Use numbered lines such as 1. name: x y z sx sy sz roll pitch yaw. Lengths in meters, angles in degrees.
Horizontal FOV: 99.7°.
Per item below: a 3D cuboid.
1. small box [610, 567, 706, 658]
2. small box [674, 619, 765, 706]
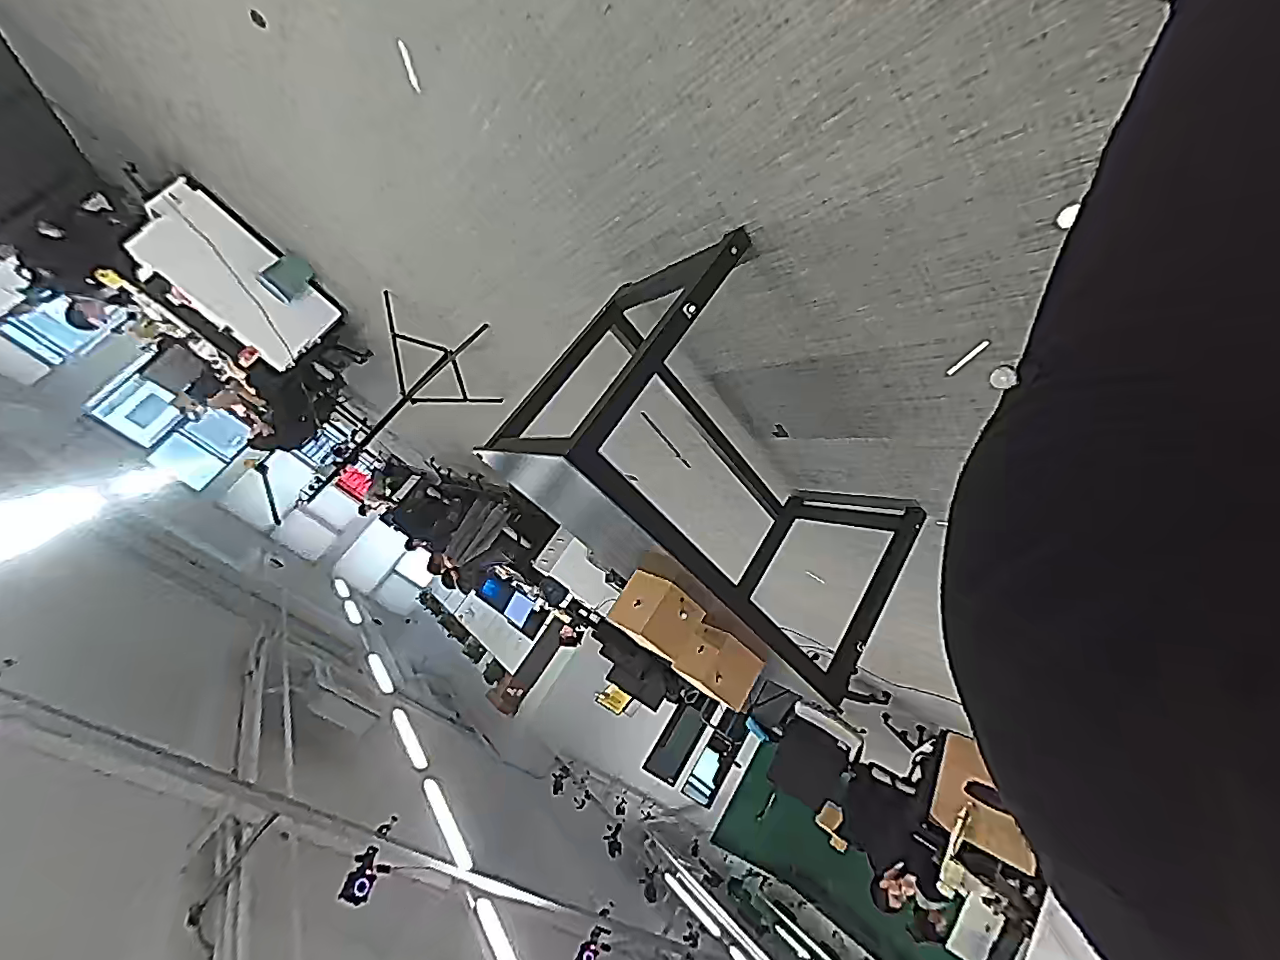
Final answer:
1. small box: 0.053 0.369 1.539 0.168 0.176 0.179 45 159 -29
2. small box: 0.245 0.551 1.658 0.179 0.176 0.168 42 162 -21
